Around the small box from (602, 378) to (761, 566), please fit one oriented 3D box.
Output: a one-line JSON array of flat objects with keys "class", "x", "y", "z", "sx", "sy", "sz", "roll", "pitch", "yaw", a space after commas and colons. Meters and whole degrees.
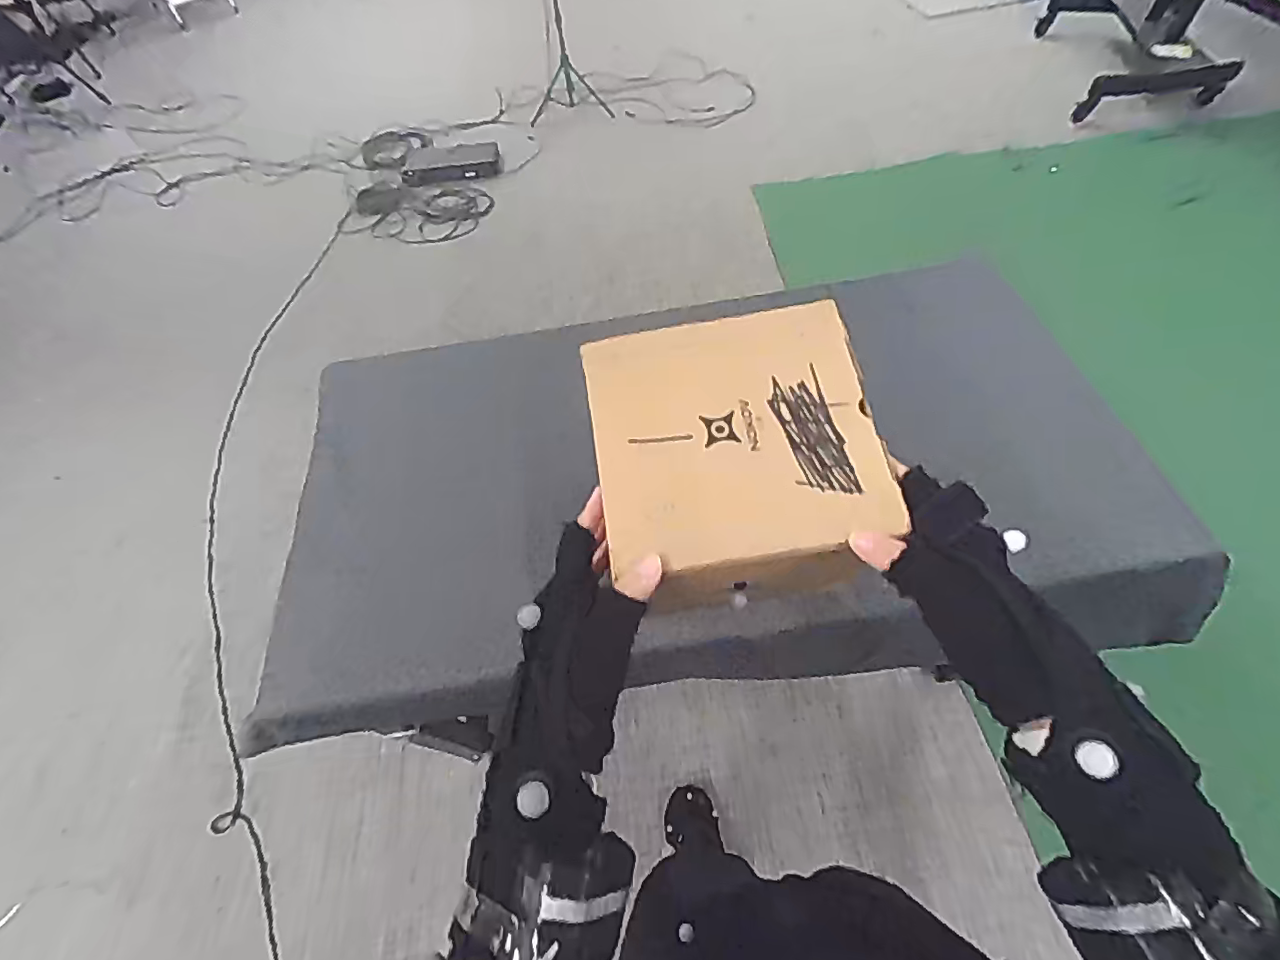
[{"class": "small box", "x": 0.049, "y": -0.001, "z": 0.698, "sx": 0.168, "sy": 0.176, "sz": 0.179, "roll": -9, "pitch": 58, "yaw": -1}]
